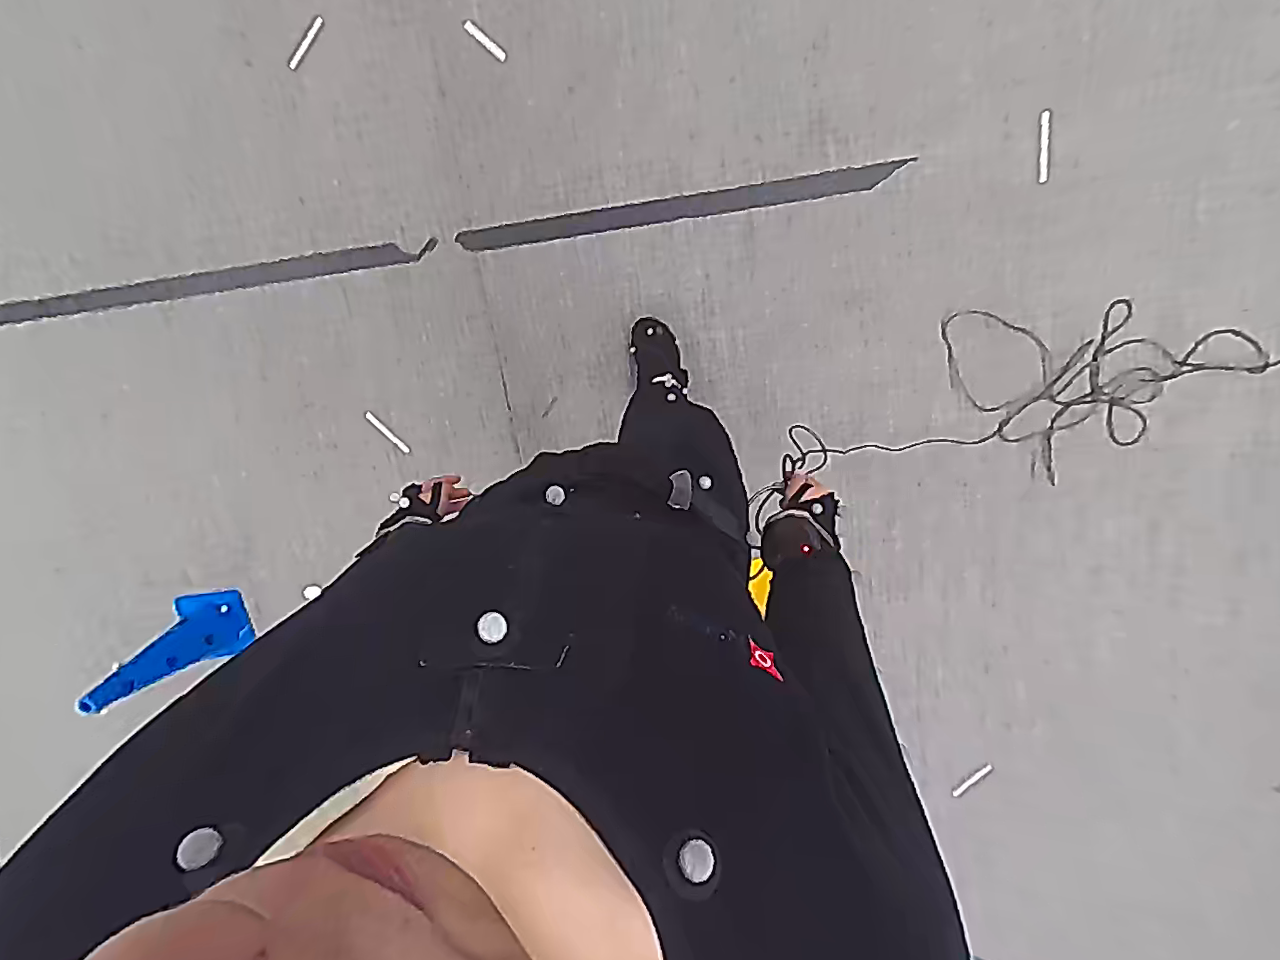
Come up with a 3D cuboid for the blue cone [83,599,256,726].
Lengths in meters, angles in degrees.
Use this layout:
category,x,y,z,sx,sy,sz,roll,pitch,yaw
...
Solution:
category,x,y,z,sx,sy,sz,roll,pitch,yaw
blue cone,-1.193,0.464,1.355,0.193,0.380,0.192,-7,104,5
